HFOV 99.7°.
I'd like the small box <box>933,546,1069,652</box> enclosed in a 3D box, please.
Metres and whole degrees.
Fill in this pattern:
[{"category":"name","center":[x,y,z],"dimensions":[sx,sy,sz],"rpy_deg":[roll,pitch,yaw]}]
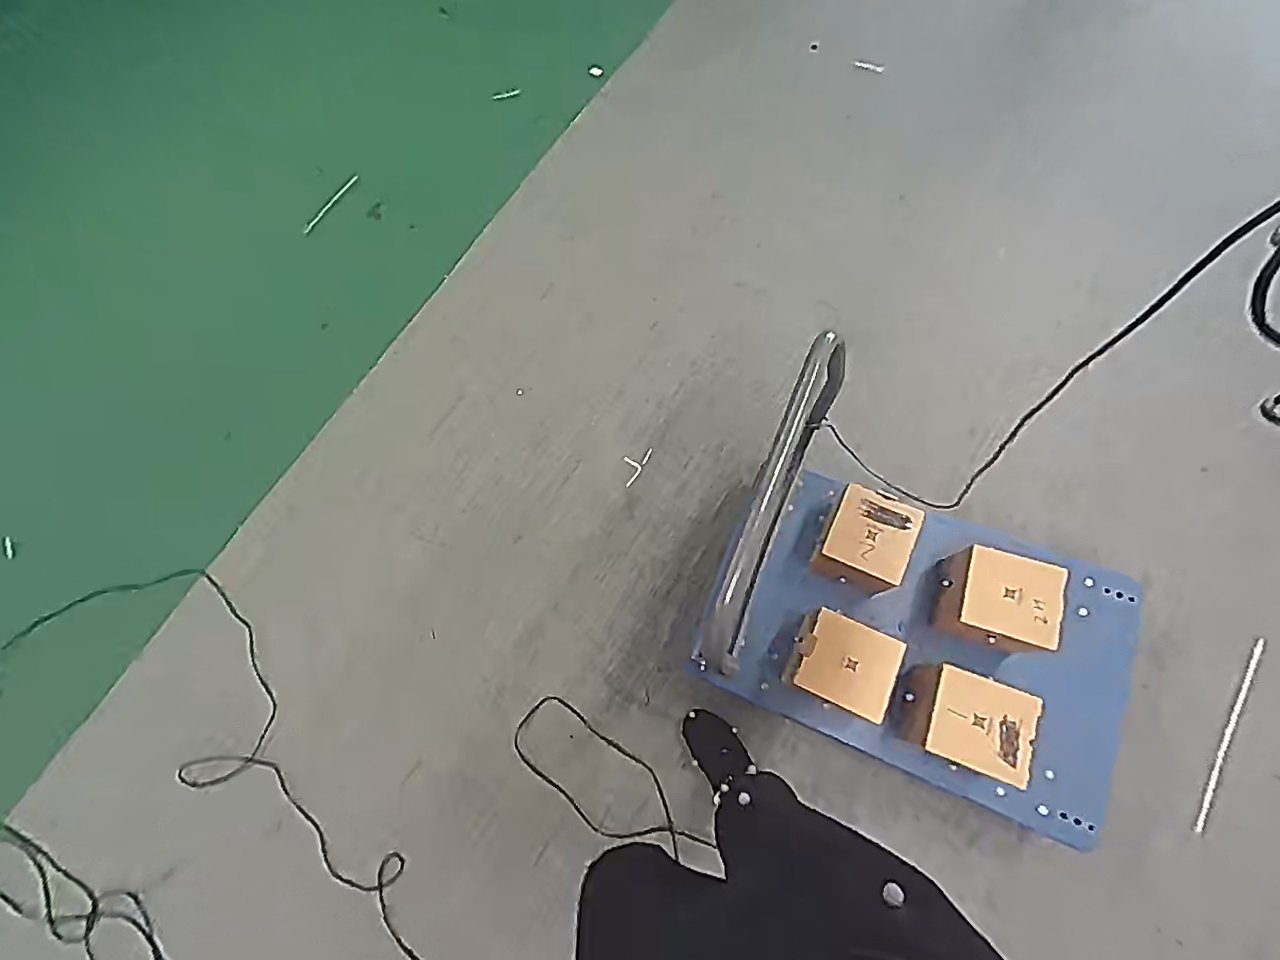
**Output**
[{"category":"small box","center":[0.745,0.256,1.134],"dimensions":[0.179,0.176,0.168],"rpy_deg":[17,75,13]}]

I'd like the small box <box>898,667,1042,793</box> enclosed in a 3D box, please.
[{"category":"small box","center":[0.643,0.481,1.071],"dimensions":[0.179,0.176,0.168],"rpy_deg":[19,74,14]}]

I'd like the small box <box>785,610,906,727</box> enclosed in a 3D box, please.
[{"category":"small box","center":[0.421,0.389,1.134],"dimensions":[0.179,0.176,0.168],"rpy_deg":[23,75,15]}]
